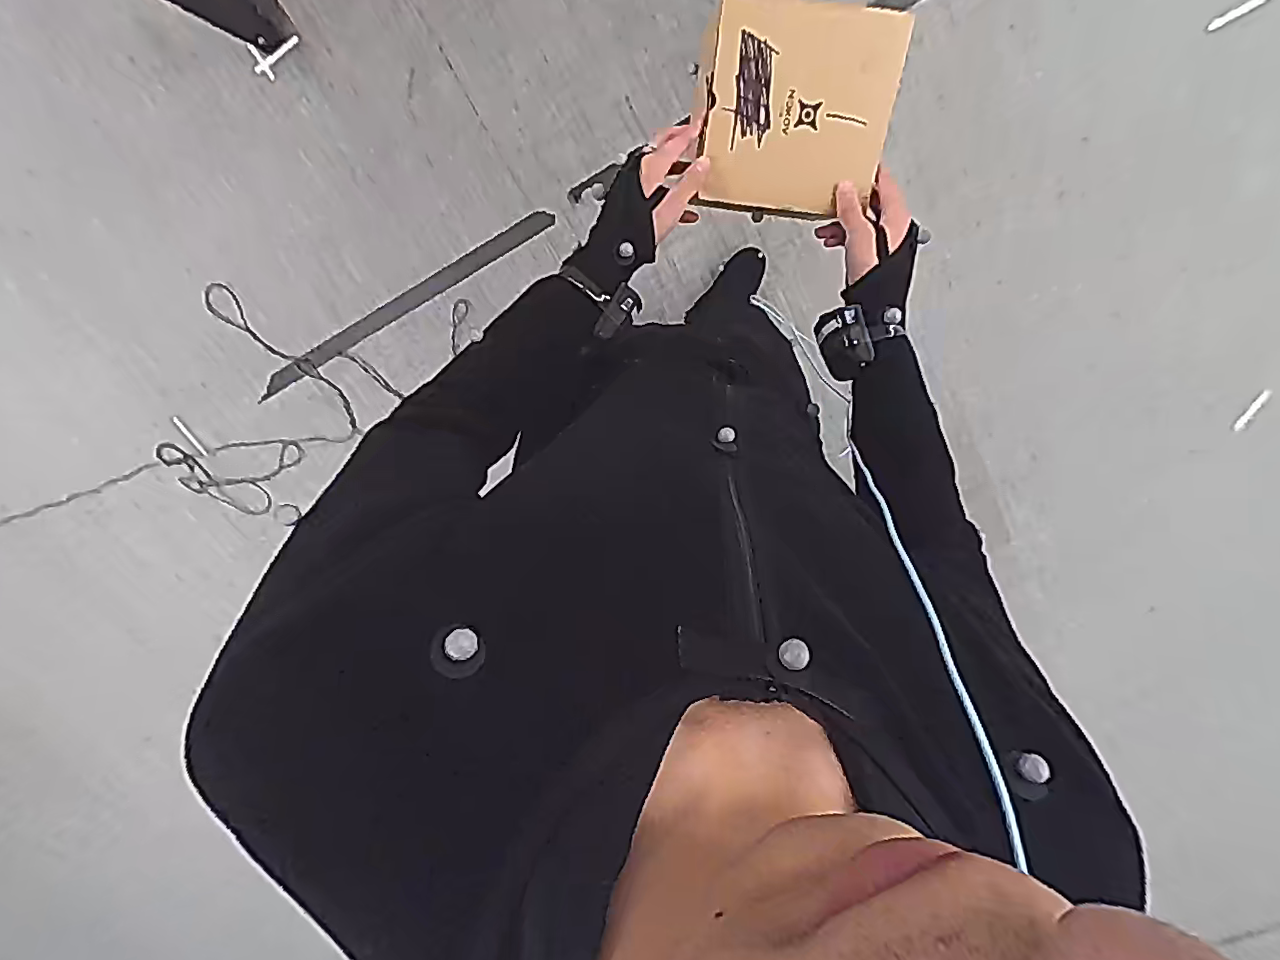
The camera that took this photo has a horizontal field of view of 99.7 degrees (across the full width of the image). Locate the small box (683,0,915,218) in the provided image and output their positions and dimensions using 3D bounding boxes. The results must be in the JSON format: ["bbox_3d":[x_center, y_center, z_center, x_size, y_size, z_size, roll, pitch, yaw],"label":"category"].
[{"bbox_3d":[0.145,-0.378,0.574,0.179,0.176,0.168,5,115,-4],"label":"small box"}]
